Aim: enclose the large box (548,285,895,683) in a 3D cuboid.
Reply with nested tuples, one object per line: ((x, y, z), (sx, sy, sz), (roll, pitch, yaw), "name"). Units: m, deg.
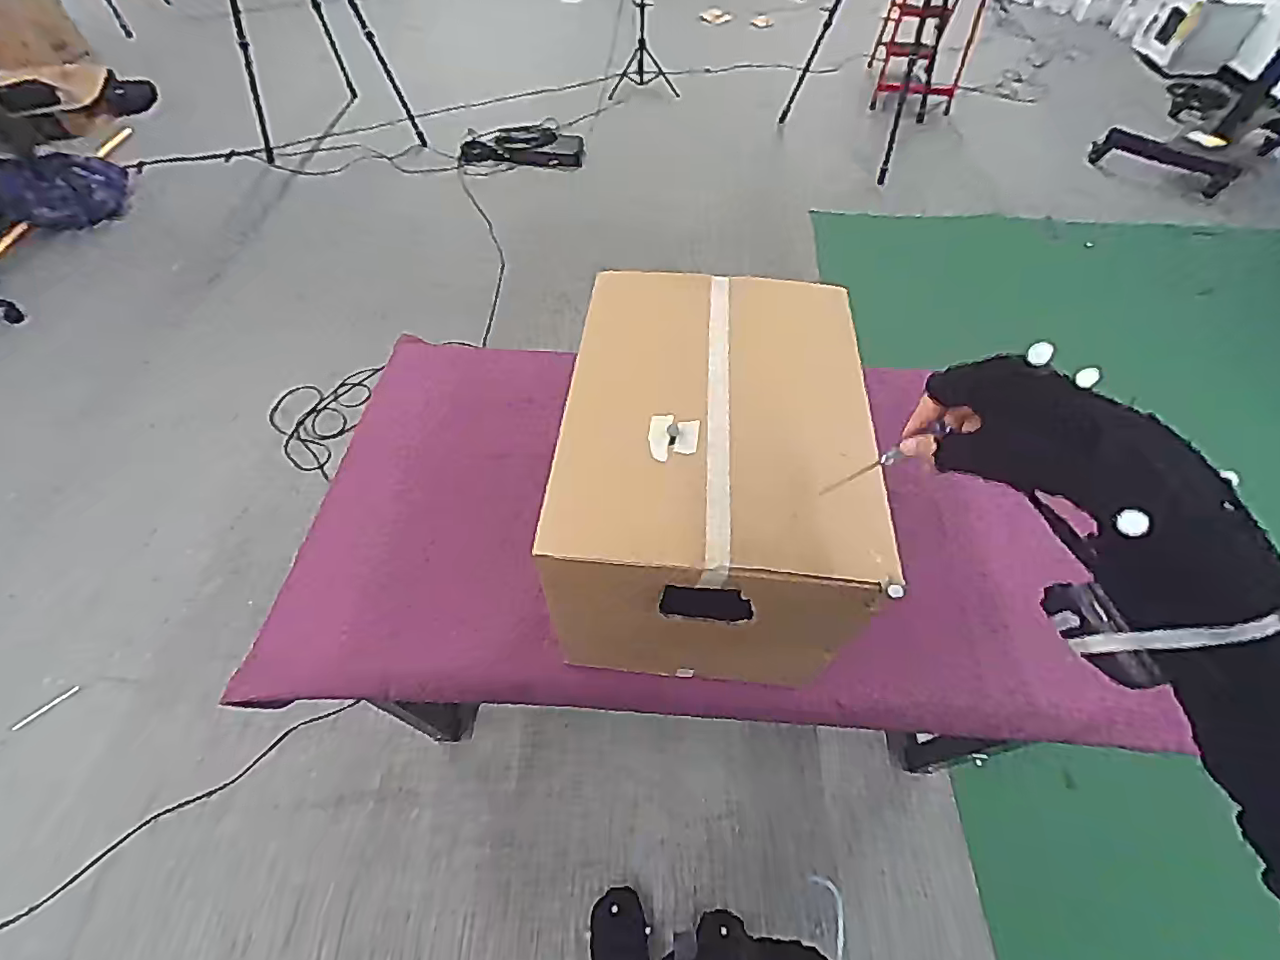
((0.081, 0.008, 0.705), (0.320, 0.320, 0.408), (5, 56, 3), "large box")
